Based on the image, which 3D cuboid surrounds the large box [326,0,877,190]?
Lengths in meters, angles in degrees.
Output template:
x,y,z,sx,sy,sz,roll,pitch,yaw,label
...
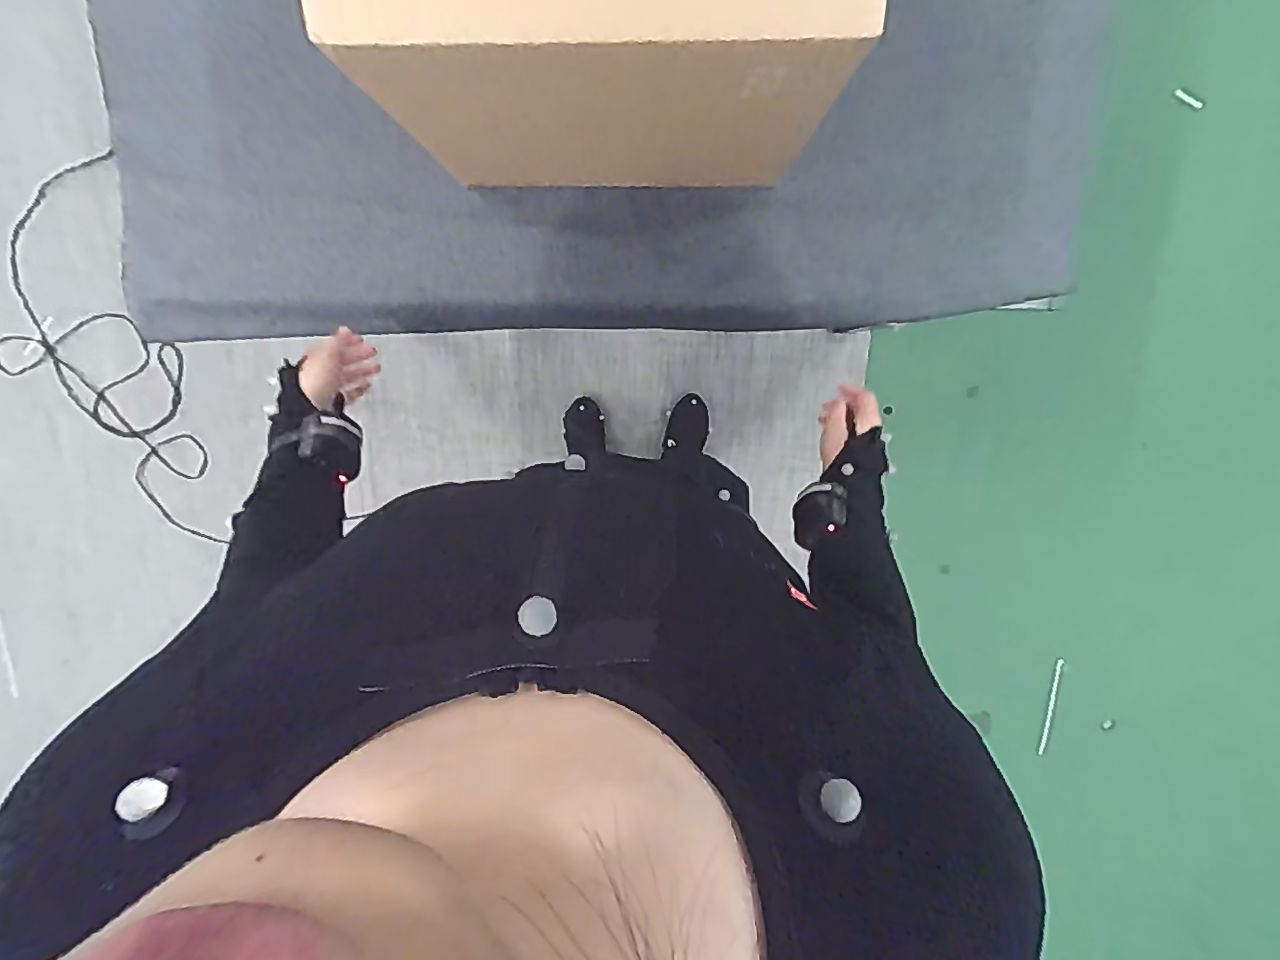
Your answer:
x,y,z,sx,sy,sz,roll,pitch,yaw,label
-0.031,-0.493,0.511,0.408,0.320,0.320,0,102,1,large box
